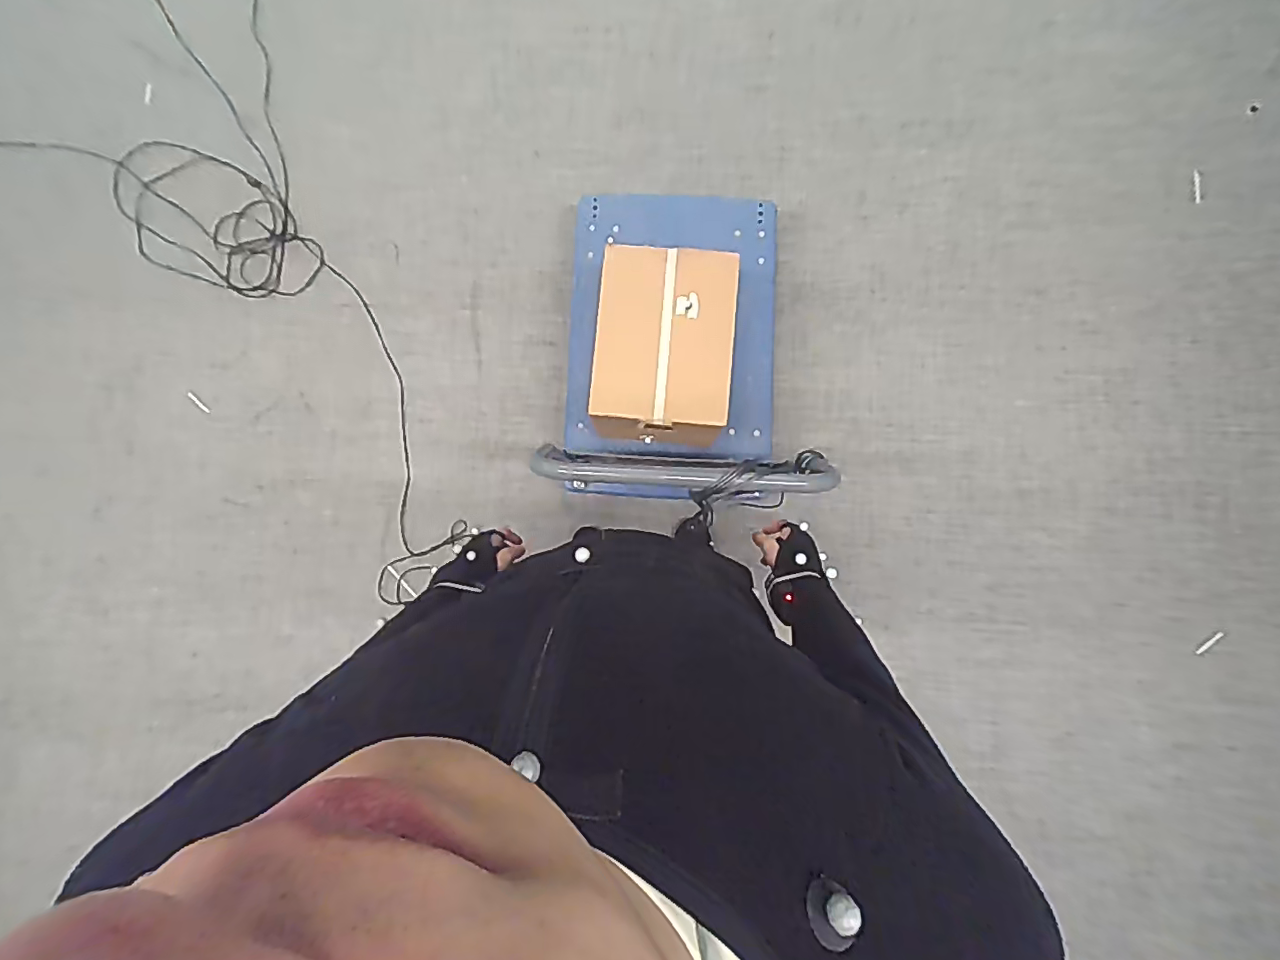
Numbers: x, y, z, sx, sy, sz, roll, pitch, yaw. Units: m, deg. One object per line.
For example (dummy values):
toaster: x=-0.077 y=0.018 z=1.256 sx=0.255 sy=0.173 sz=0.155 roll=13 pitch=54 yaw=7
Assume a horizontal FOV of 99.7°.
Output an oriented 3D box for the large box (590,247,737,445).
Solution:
large box: x=0.059 y=-0.315 z=1.374 sx=0.320 sy=0.320 sz=0.408 roll=5 pitch=84 yaw=1
